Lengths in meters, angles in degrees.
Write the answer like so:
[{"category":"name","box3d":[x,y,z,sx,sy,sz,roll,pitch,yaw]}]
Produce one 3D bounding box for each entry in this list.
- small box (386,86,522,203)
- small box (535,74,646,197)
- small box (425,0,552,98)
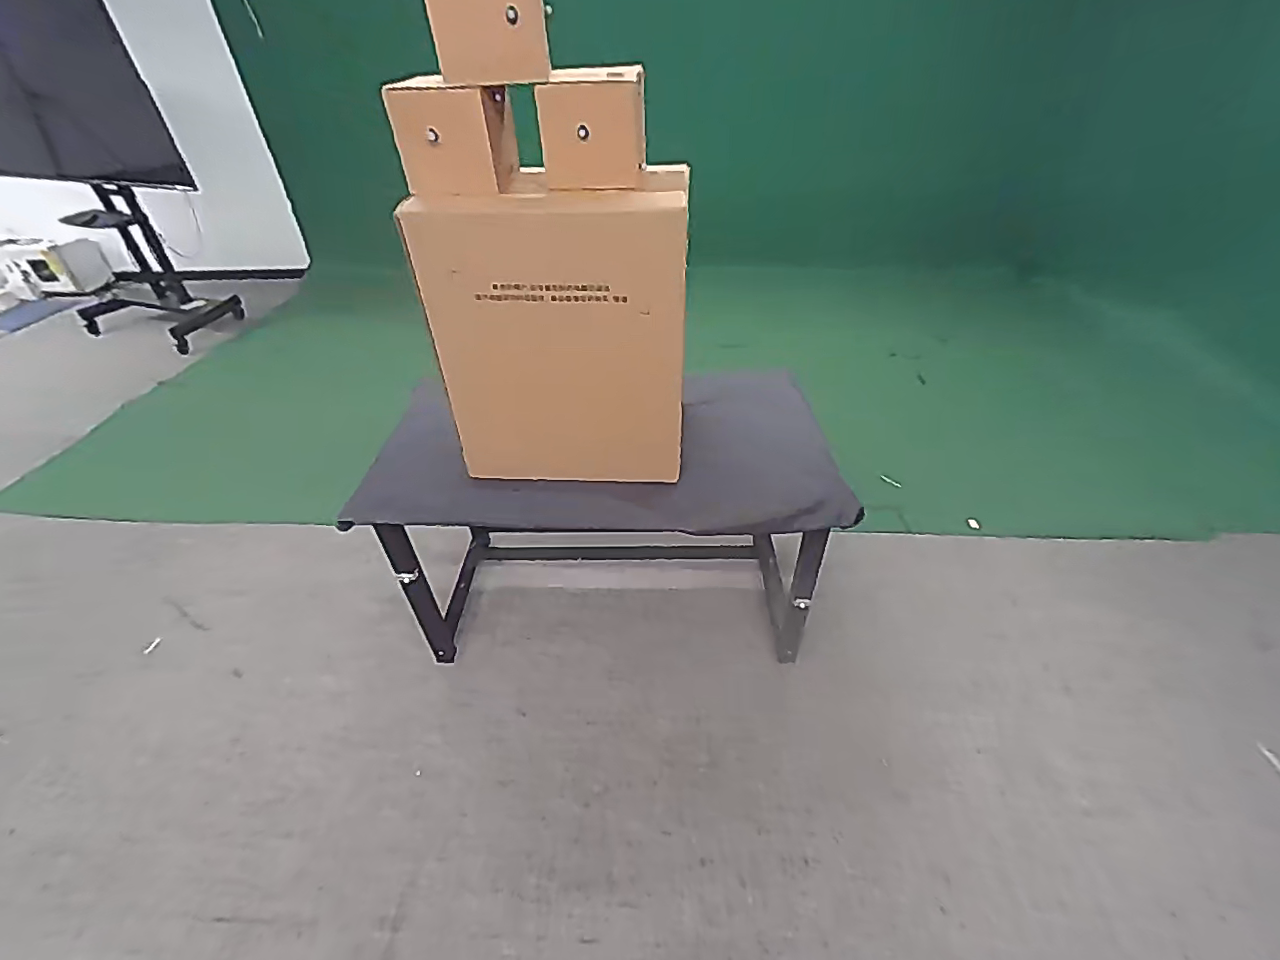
[{"category":"small box","box3d":[-0.341,-0.640,1.032,0.179,0.176,0.168,2,43,5]},{"category":"small box","box3d":[-0.083,-0.652,1.027,0.179,0.176,0.168,1,43,6]},{"category":"small box","box3d":[-0.249,-0.763,0.920,0.179,0.176,0.168,-6,41,-2]}]
